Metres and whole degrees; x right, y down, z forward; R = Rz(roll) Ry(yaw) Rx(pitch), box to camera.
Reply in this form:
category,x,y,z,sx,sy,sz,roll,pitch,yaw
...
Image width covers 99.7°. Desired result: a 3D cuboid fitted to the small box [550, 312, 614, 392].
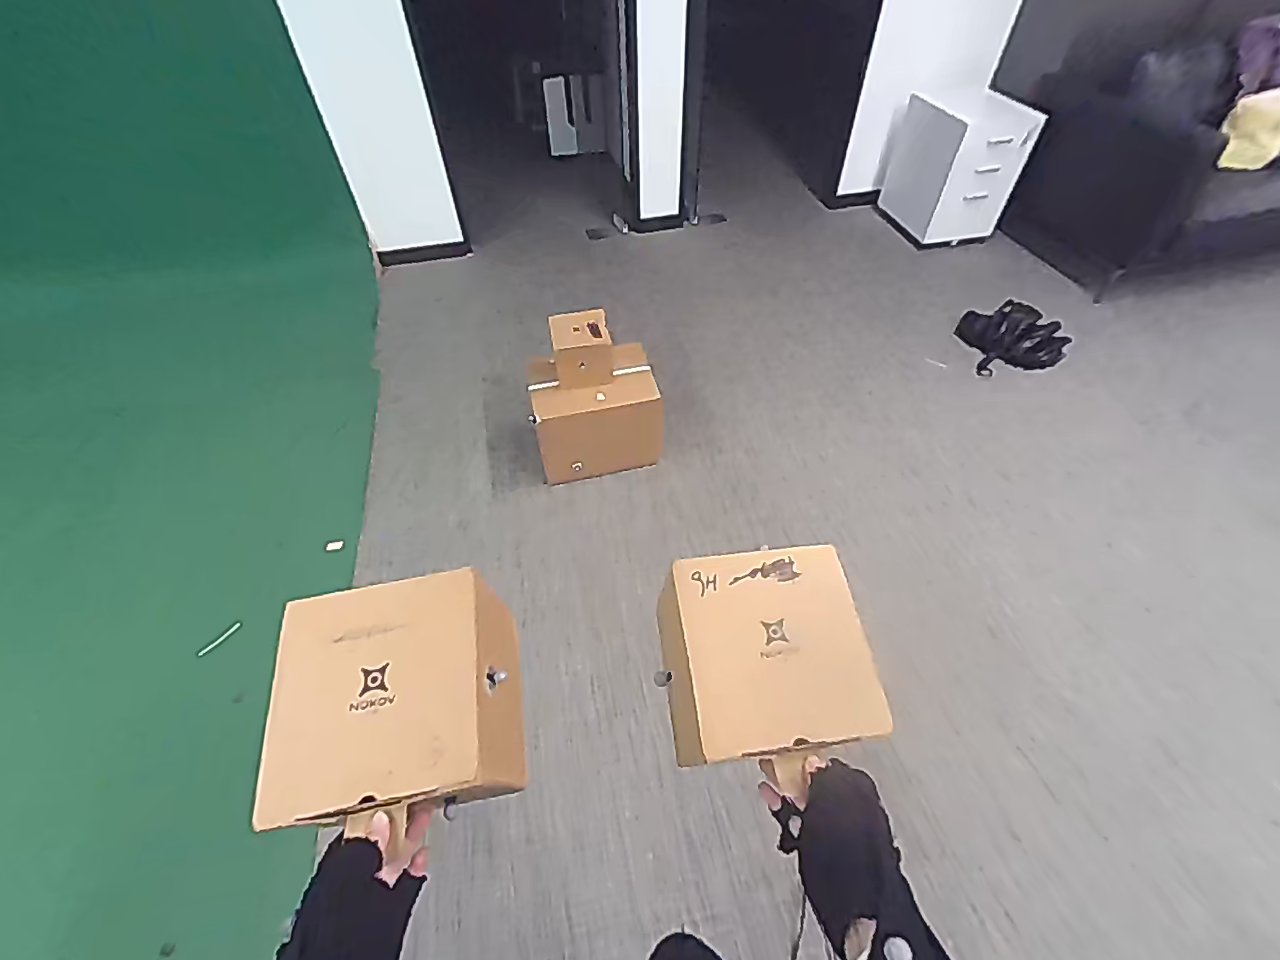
category,x,y,z,sx,sy,sz,roll,pitch,yaw
small box,-0.182,-0.405,1.720,0.179,0.176,0.168,-12,56,-9

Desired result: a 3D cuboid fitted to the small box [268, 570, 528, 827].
category,x,y,z,sx,sy,sz,roll,pitch,yaw
small box,-0.211,0.212,0.518,0.168,0.176,0.179,-12,58,-4
